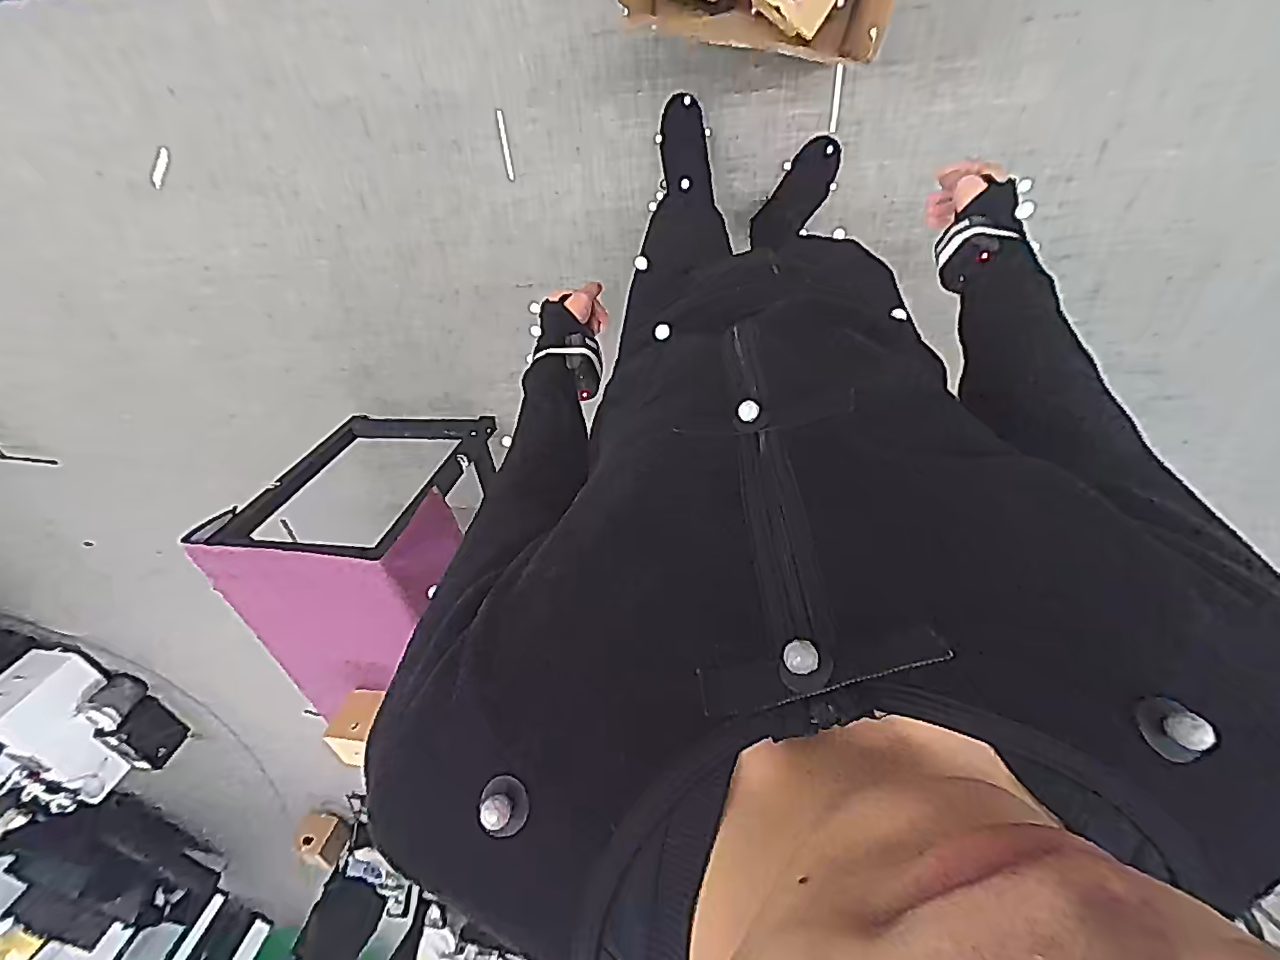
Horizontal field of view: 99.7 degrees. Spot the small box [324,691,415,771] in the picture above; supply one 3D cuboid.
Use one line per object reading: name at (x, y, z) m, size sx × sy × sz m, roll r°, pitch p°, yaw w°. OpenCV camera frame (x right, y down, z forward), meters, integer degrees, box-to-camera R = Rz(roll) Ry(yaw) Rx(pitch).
small box at (-0.846, 0.795, 1.720) m, size 0.179 × 0.176 × 0.168 m, roll 0°, pitch 126°, yaw 13°
